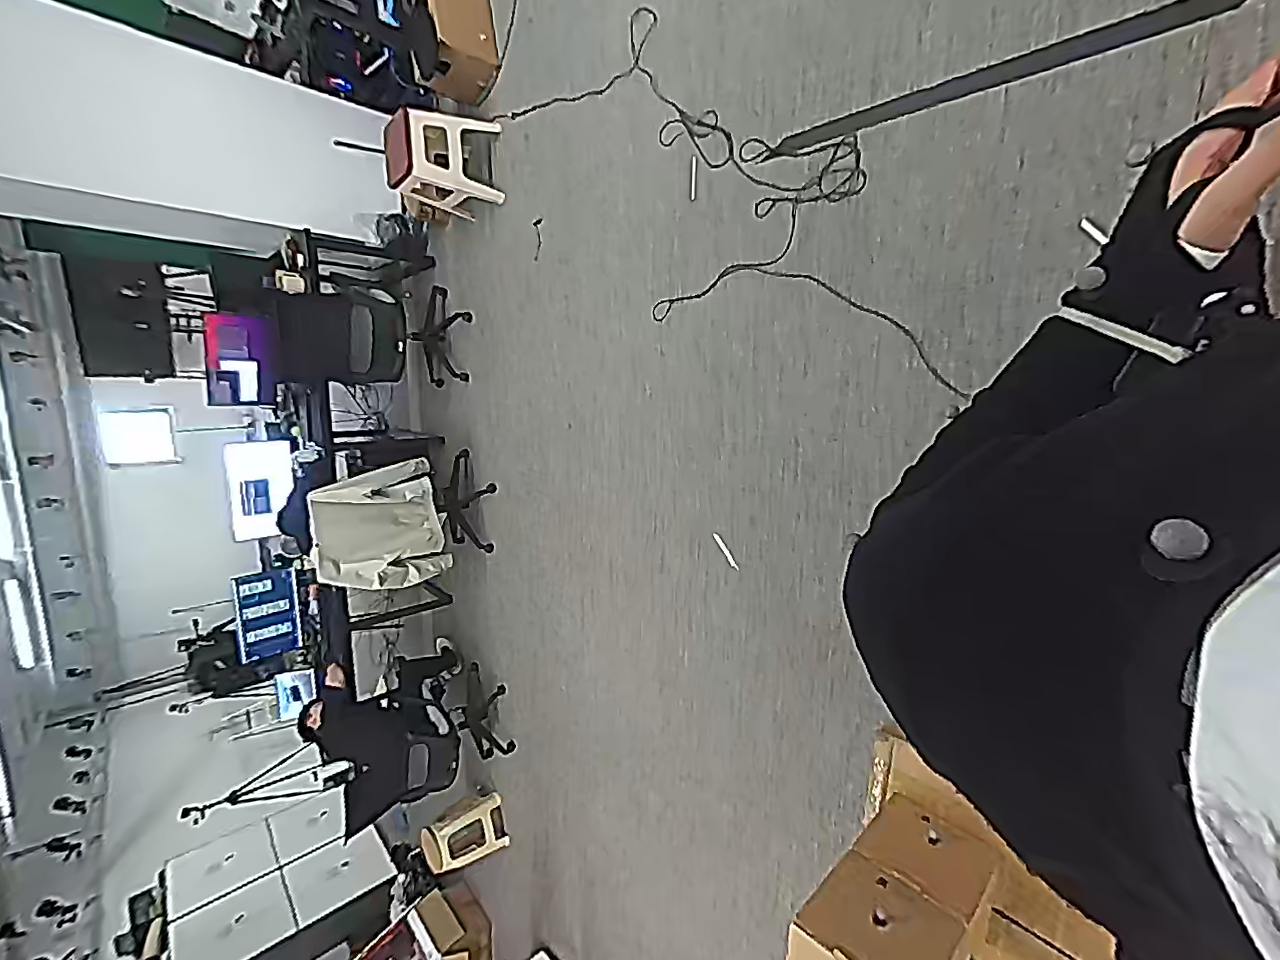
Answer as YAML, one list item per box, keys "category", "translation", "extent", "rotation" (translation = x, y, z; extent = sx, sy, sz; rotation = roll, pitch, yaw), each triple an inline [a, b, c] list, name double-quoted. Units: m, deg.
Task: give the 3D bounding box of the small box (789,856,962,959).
- category: "small box"
  translation: [0.315, 0.669, 0.733]
  extent: [0.168, 0.176, 0.179]
  rotation: [14, 105, 45]

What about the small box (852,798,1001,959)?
- category: "small box"
  translation: [0.438, 0.649, 0.840]
  extent: [0.168, 0.176, 0.179]
  rotation: [12, 104, 45]
